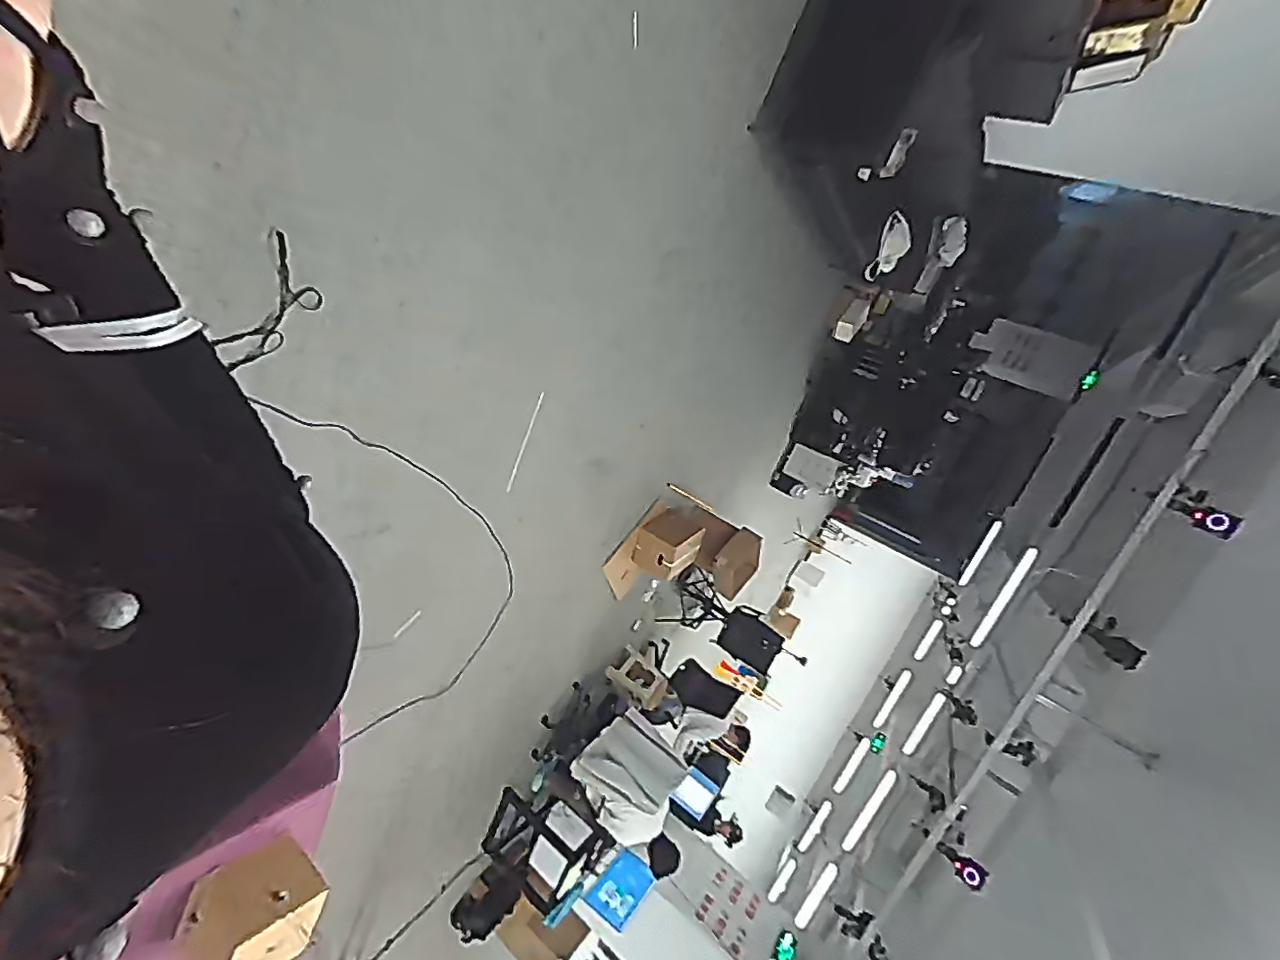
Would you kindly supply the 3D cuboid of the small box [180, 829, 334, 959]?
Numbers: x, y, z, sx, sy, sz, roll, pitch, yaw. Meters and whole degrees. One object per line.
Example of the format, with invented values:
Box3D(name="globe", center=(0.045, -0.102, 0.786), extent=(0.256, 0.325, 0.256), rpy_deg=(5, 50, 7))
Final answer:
Box3D(name="small box", center=(-0.763, 0.852, 1.081), extent=(0.179, 0.176, 0.168), rpy_deg=(7, 110, -62))
